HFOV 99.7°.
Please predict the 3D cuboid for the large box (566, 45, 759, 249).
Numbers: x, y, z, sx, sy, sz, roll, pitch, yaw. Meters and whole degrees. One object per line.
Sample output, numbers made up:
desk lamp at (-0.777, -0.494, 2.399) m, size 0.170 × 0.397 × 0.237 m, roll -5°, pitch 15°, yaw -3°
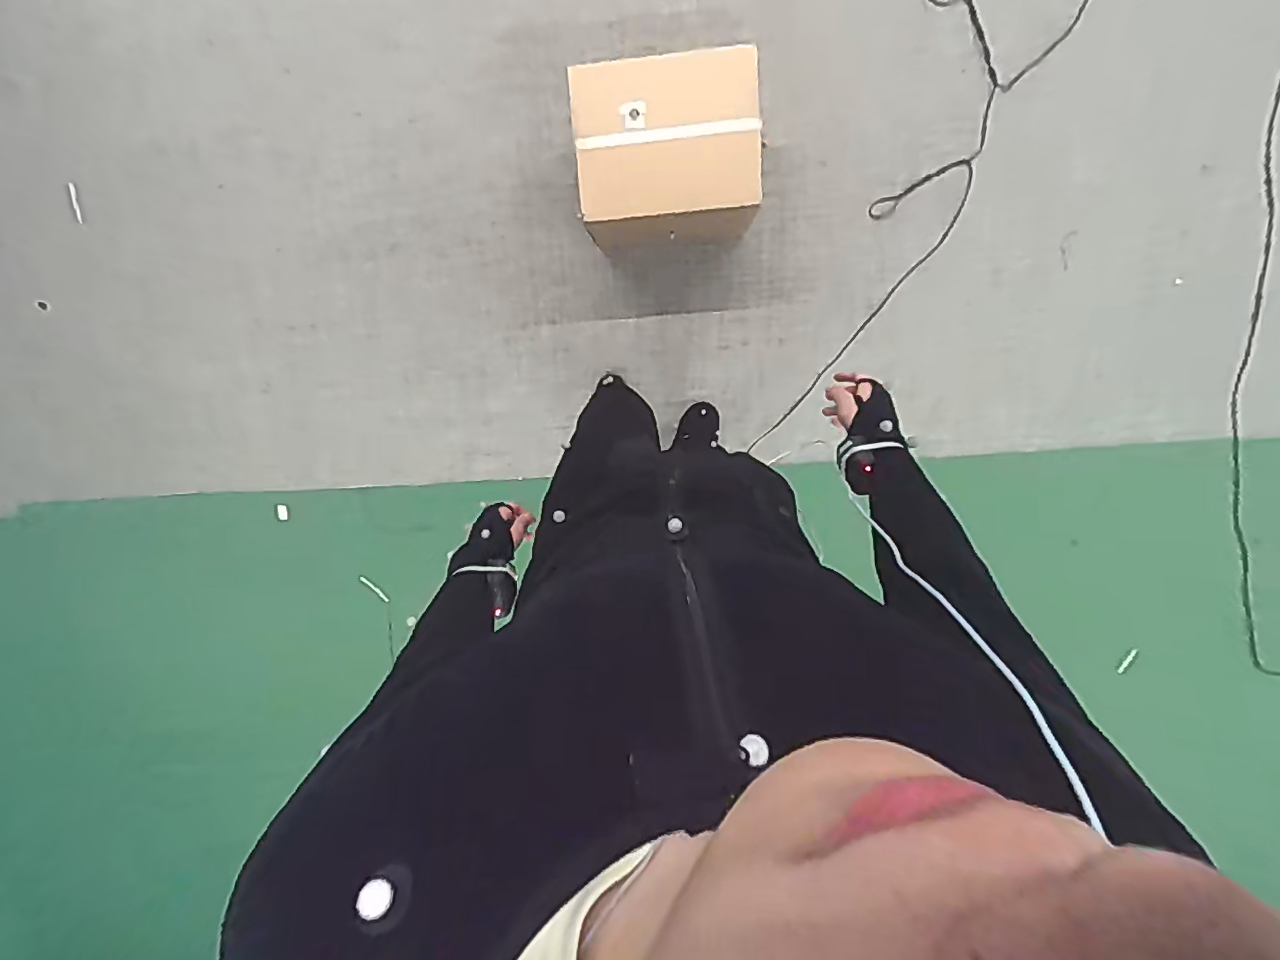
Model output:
large box at (0.063, -0.780, 1.327) m, size 0.408 × 0.320 × 0.320 m, roll -5°, pitch 101°, yaw 5°
